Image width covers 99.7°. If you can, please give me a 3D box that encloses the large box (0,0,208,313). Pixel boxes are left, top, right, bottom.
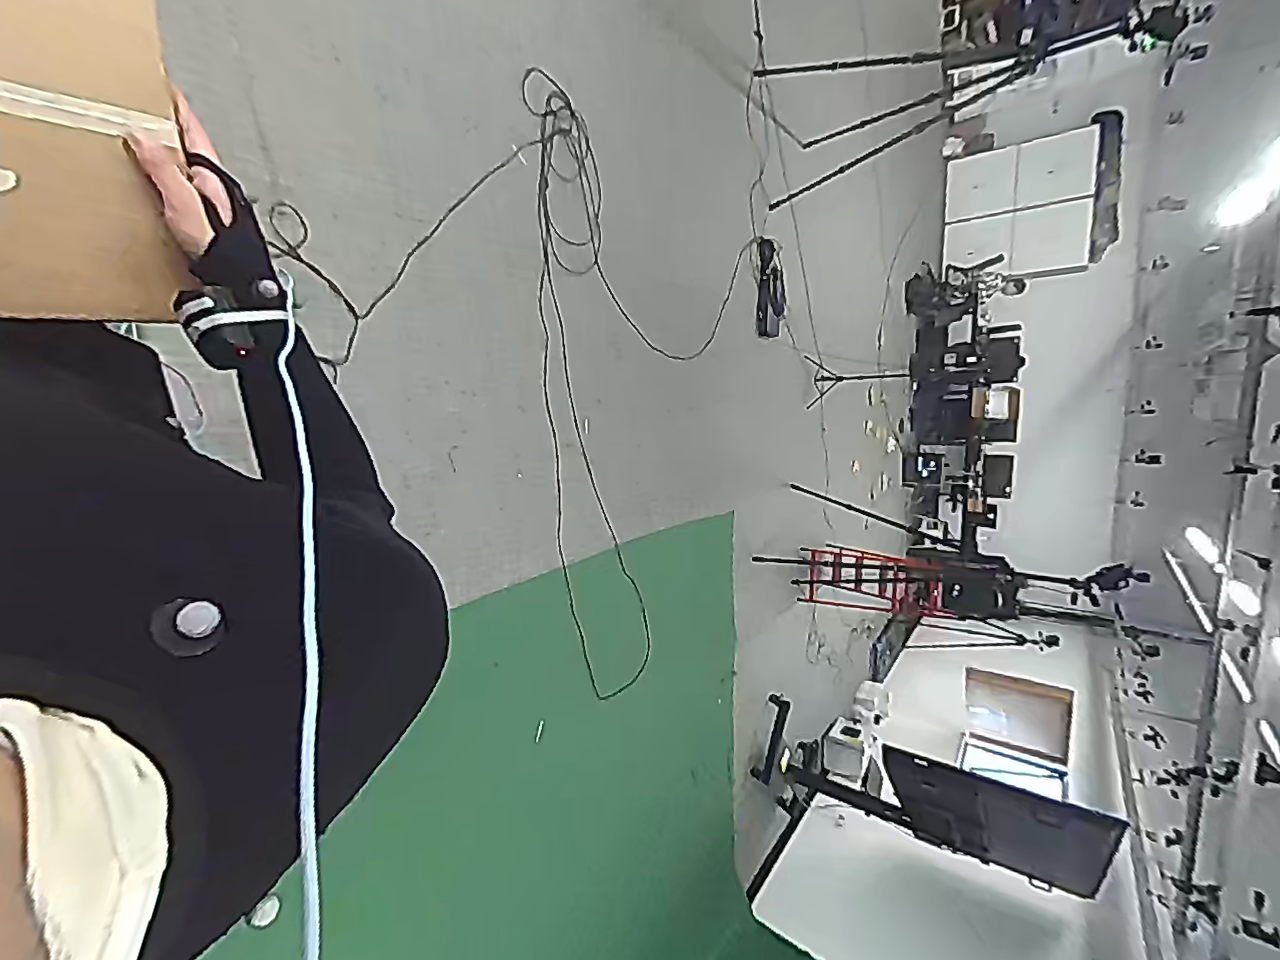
[{"bbox_3d":[-0.654,-0.297,0.423,0.408,0.320,0.320,-17,116,-48],"label":"large box"}]
